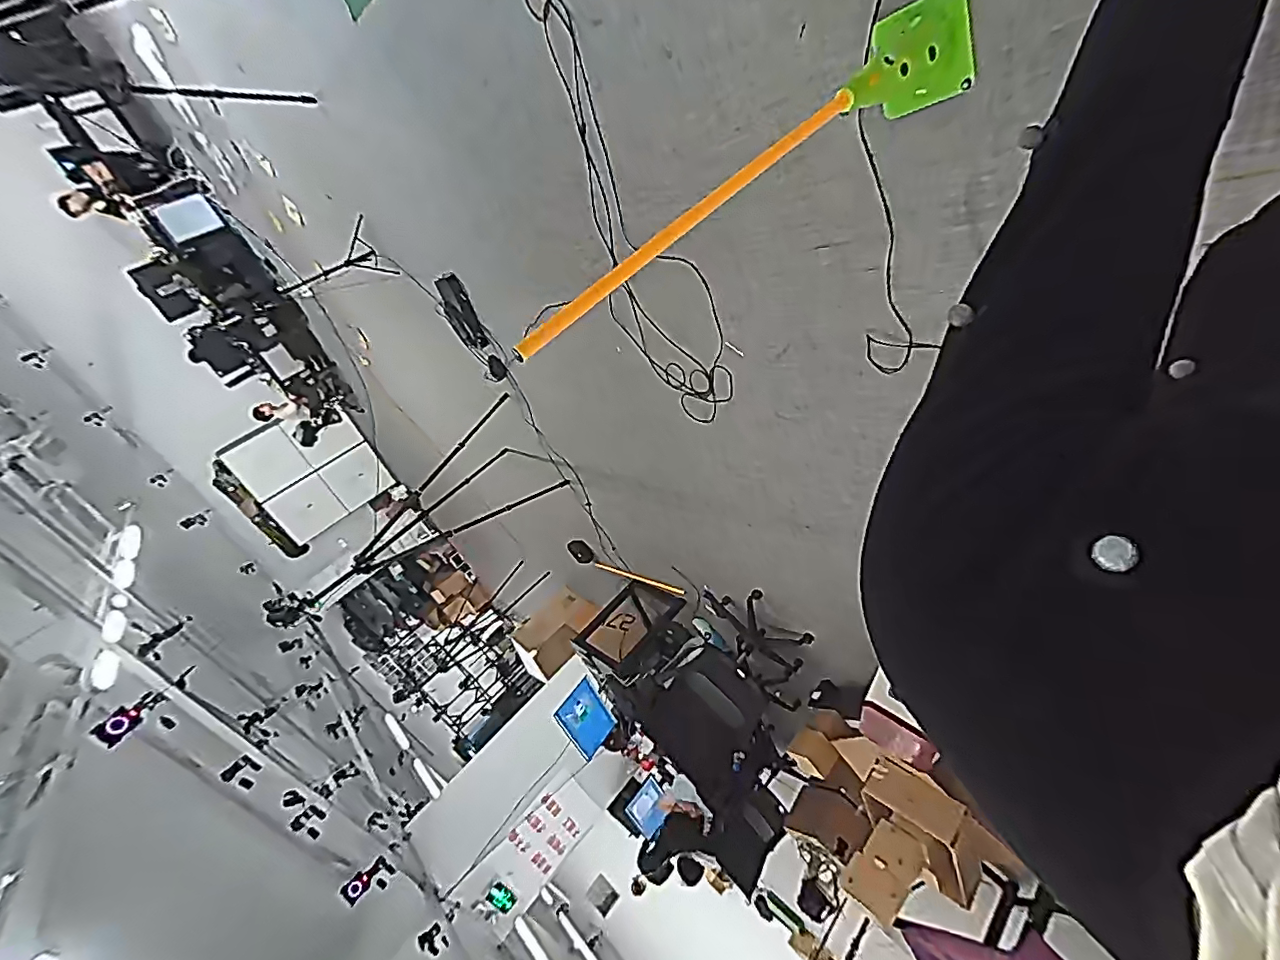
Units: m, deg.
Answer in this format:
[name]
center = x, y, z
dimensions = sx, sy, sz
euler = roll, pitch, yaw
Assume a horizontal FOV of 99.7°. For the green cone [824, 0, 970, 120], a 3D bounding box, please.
[green cone]
center = 0.503, -0.843, 1.133
dimensions = 0.202, 0.368, 0.200
euler = 13, 136, 51
